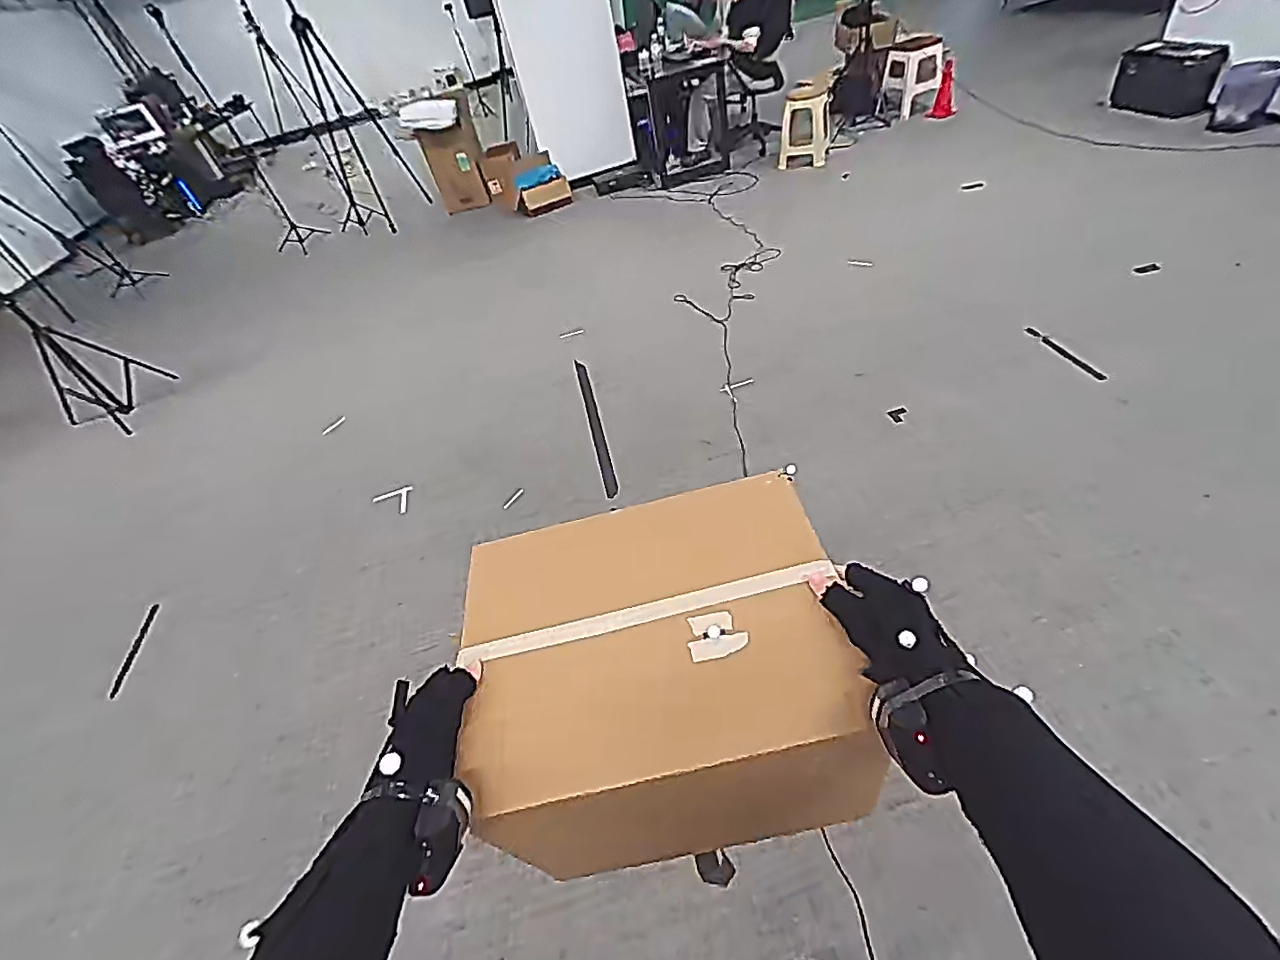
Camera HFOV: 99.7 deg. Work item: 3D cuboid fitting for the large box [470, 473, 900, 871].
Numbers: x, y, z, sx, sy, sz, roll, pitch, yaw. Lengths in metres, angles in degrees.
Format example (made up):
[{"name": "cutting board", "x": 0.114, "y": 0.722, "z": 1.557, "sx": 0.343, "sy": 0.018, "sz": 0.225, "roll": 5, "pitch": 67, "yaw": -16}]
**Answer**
[{"name": "large box", "x": 0.043, "y": 0.244, "z": 0.686, "sx": 0.408, "sy": 0.320, "sz": 0.320, "roll": -14, "pitch": 45, "yaw": 2}]
